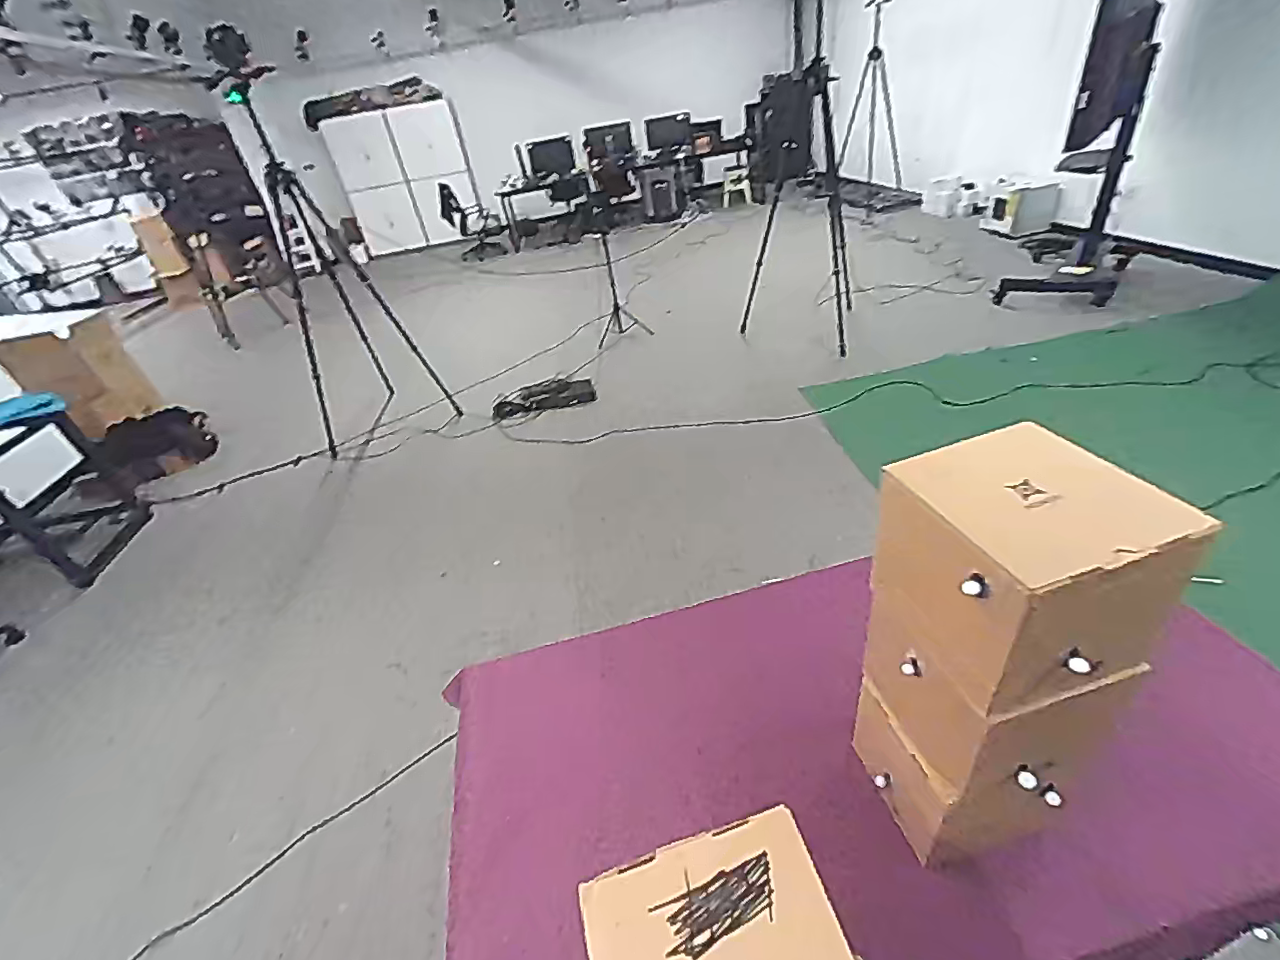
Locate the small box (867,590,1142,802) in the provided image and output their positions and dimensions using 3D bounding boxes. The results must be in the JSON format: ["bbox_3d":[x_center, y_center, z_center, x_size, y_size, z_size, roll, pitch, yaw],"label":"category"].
[{"bbox_3d":[0.373,0.211,0.598,0.168,0.176,0.179,-16,36,-5],"label":"small box"}]

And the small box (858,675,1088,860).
[{"bbox_3d":[0.401,0.343,0.689,0.179,0.176,0.168,-15,35,-5],"label":"small box"}]

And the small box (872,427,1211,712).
[{"bbox_3d":[0.342,0.078,0.509,0.168,0.176,0.179,-17,36,-7],"label":"small box"}]
